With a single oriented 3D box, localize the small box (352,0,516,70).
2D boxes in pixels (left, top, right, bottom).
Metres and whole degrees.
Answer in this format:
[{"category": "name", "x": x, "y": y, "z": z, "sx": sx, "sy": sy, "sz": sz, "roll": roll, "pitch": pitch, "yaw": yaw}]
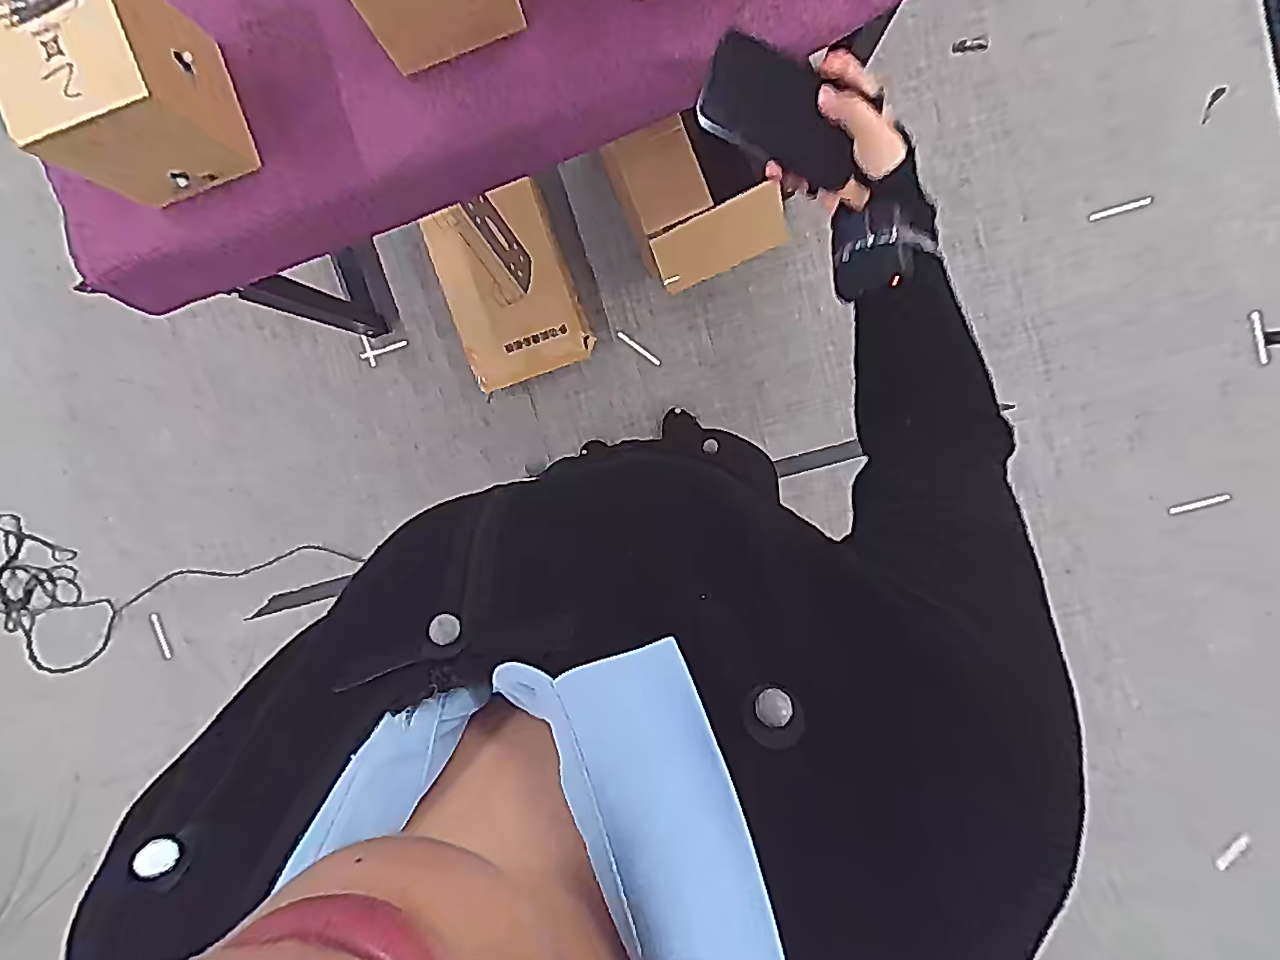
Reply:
[{"category": "small box", "x": -0.255, "y": -0.626, "z": 0.615, "sx": 0.179, "sy": 0.176, "sz": 0.168, "roll": -18, "pitch": 92, "yaw": 4}]
